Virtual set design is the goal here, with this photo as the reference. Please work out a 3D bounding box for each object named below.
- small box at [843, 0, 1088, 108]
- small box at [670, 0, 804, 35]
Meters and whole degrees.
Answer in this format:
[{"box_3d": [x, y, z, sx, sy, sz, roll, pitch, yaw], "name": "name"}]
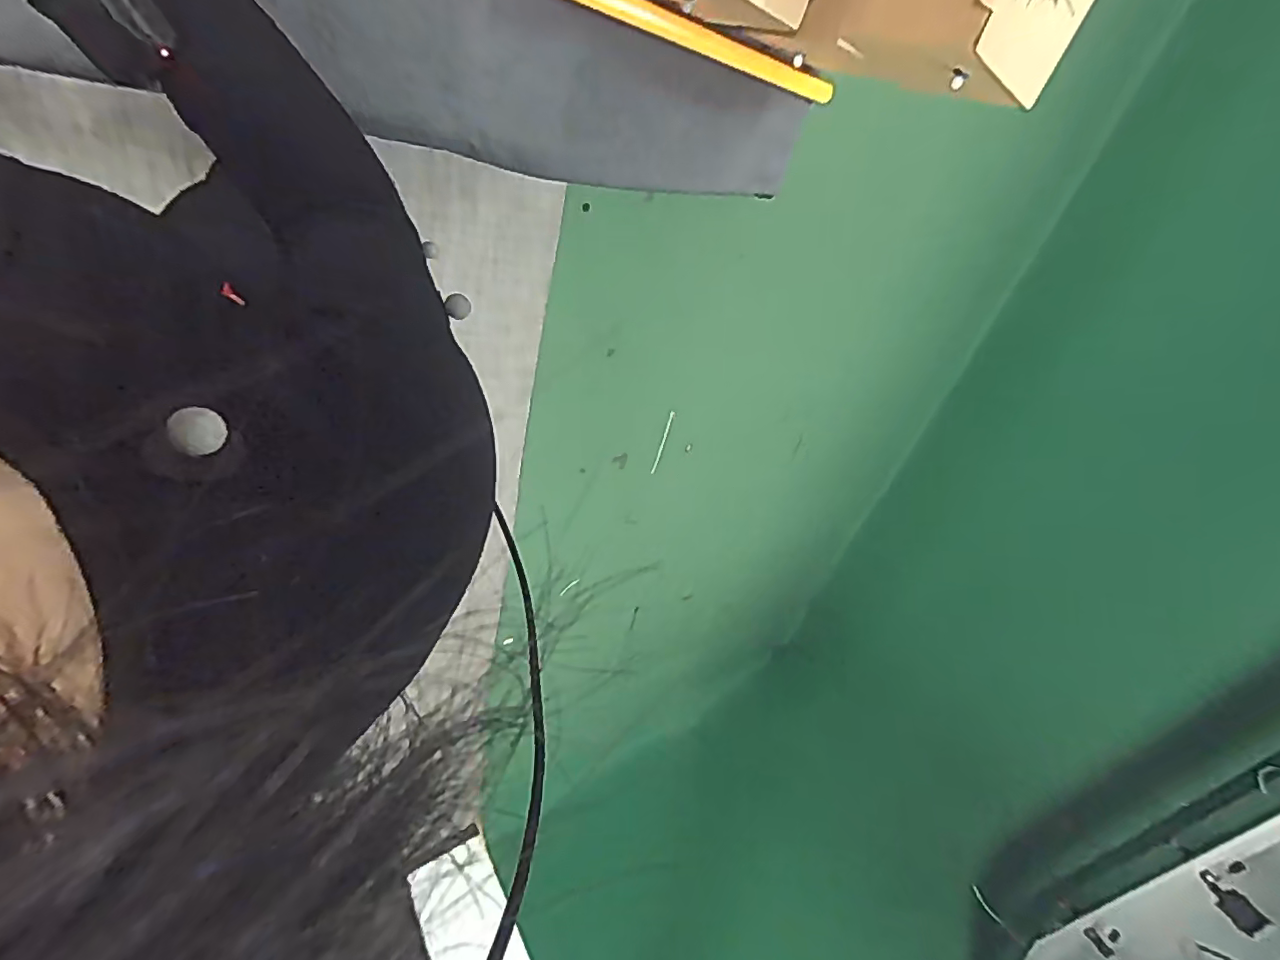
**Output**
[{"box_3d": [0.352, -0.527, 0.570, 0.179, 0.176, 0.168, -7, 131, -39], "name": "small box"}, {"box_3d": [0.080, -0.585, 0.533, 0.168, 0.176, 0.179, -7, 131, -38], "name": "small box"}]
